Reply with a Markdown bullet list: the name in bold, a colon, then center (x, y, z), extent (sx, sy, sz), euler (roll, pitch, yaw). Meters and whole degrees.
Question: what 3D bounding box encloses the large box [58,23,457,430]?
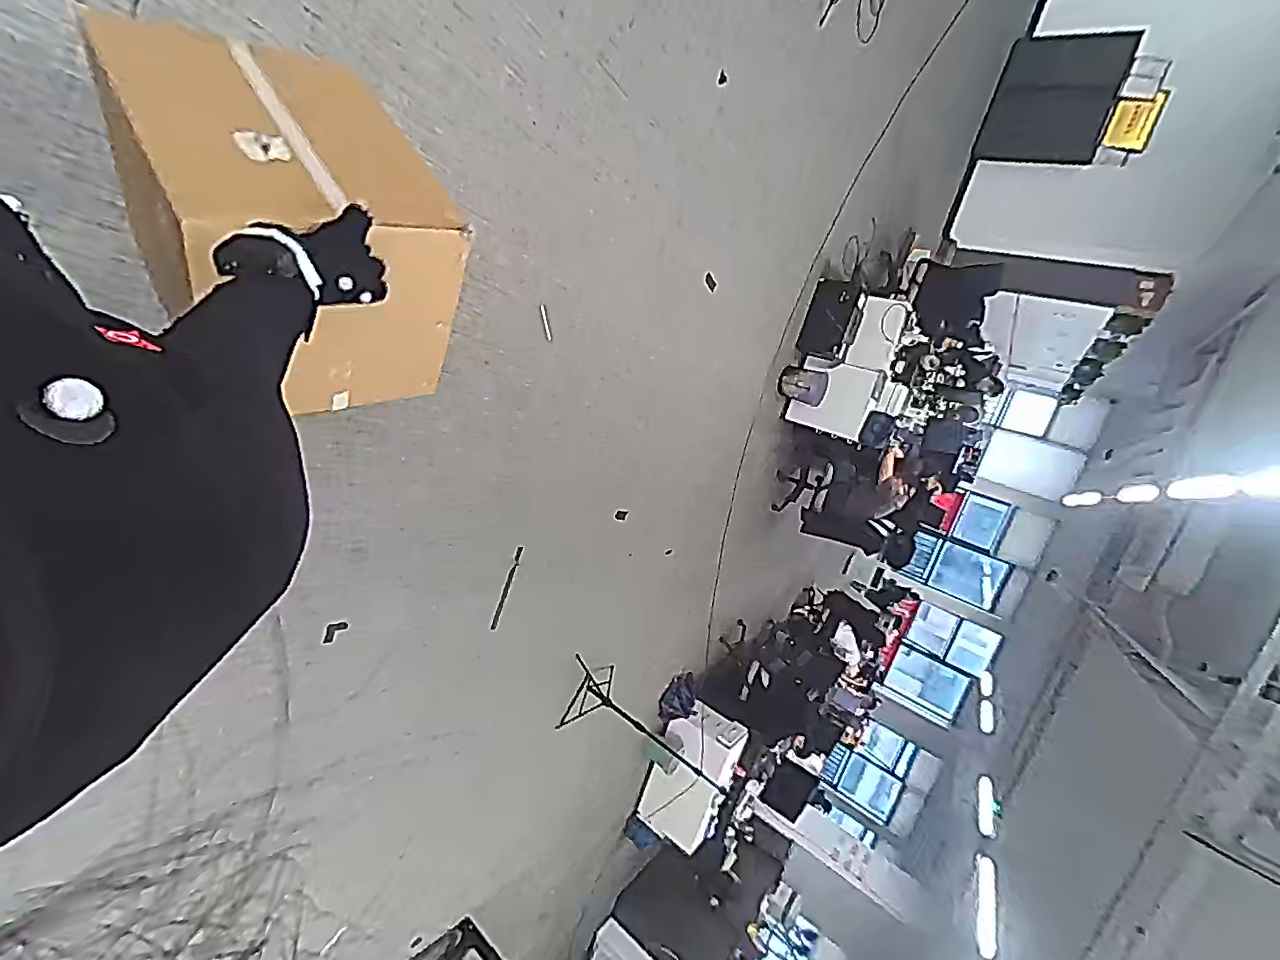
- **large box**: center (-0.531, -0.343, 0.785), extent (0.320, 0.408, 0.320), euler (-22, 158, -41)
